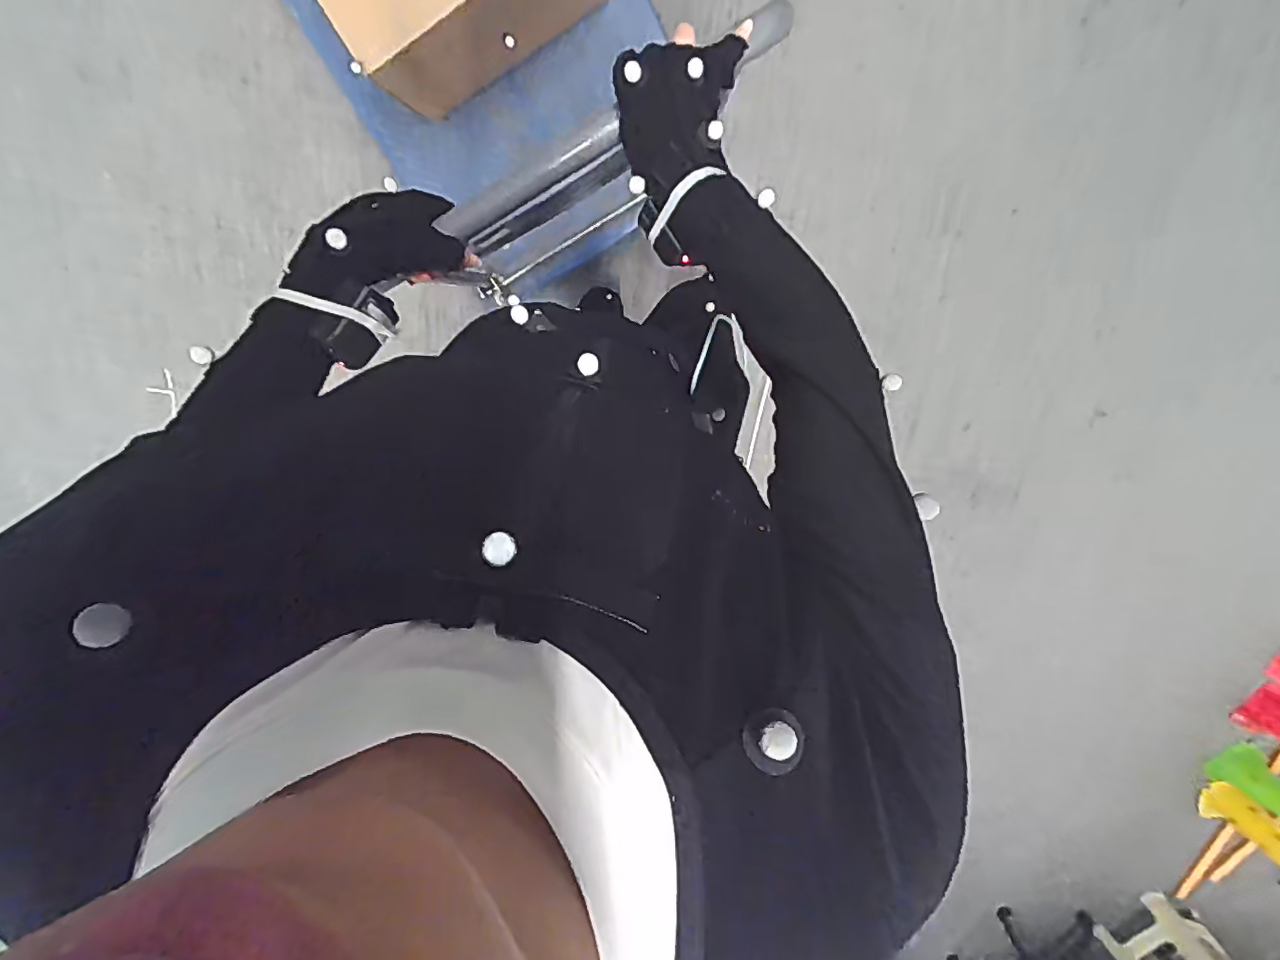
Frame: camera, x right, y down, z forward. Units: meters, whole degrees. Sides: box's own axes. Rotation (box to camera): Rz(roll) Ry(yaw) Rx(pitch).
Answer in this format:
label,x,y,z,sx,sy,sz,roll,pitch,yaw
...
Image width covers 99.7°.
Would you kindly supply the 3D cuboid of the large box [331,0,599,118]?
label,x,y,z,sx,sy,sz,roll,pitch,yaw
large box,-0.285,-0.851,0.824,0.408,0.320,0.320,-29,111,10
